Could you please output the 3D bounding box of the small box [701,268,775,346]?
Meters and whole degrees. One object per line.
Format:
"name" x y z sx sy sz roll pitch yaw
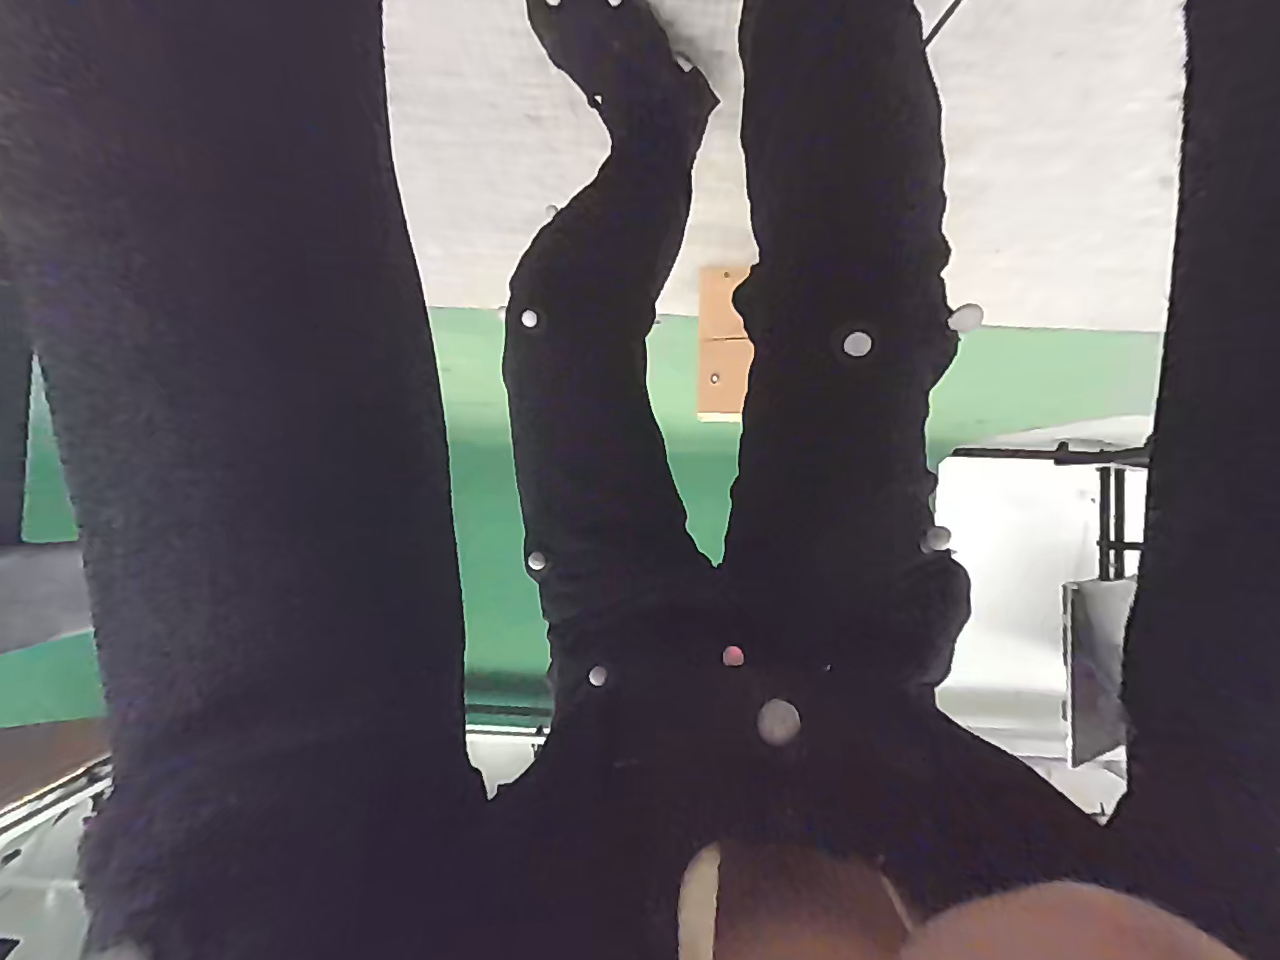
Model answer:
"small box" 0.231 -0.392 1.285 0.168 0.176 0.179 2 179 10

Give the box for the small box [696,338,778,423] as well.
"small box" 0.230 -0.230 1.271 0.179 0.176 0.168 1 180 13
